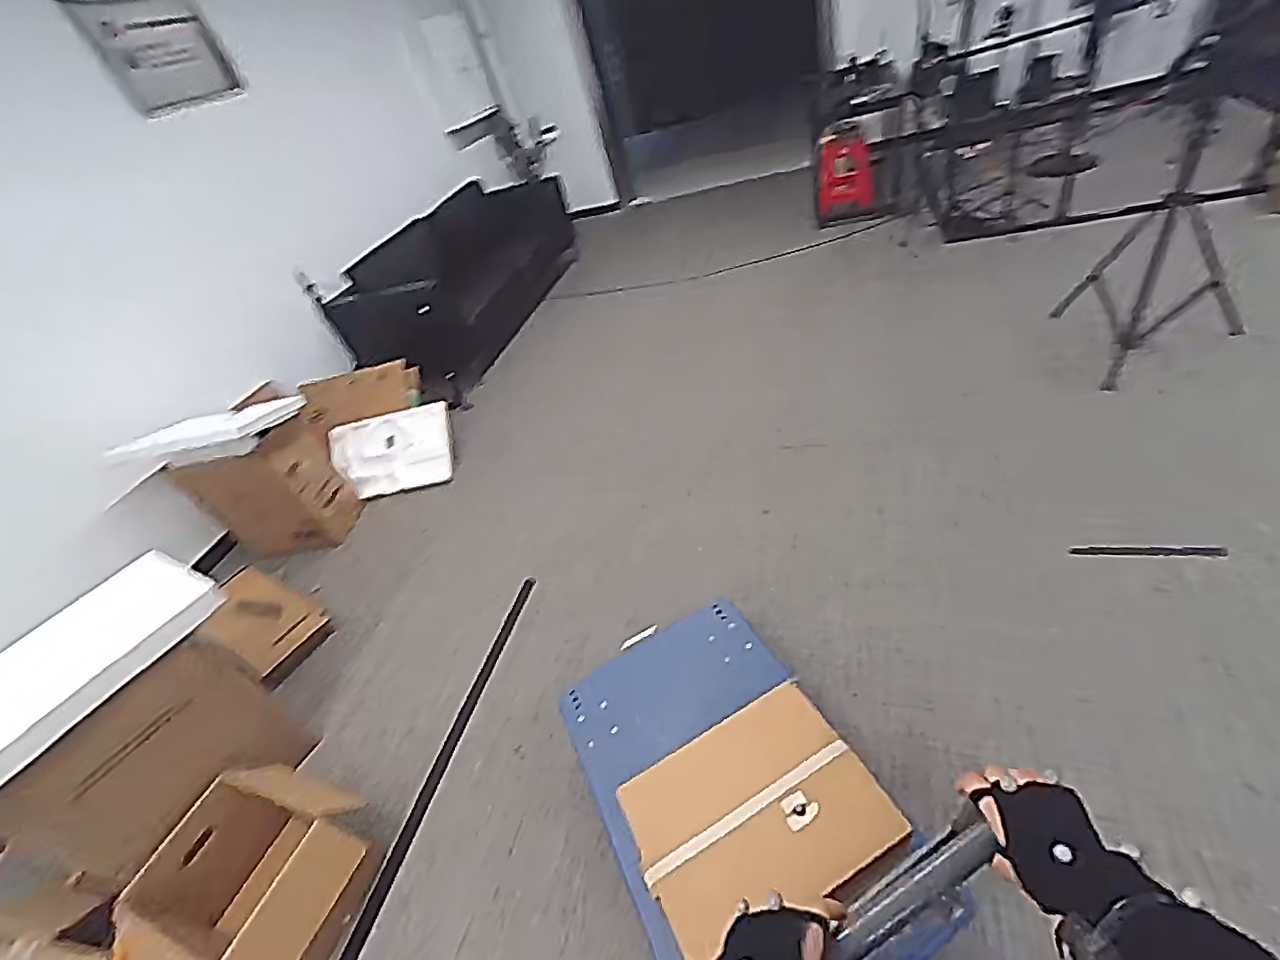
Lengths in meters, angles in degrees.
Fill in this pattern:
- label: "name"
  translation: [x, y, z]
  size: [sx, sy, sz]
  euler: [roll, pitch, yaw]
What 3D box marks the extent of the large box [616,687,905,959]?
- label: "large box"
  translation: [0.223, 0.689, 1.021]
  size: [0.408, 0.320, 0.320]
  euler: [-27, 40, -12]
